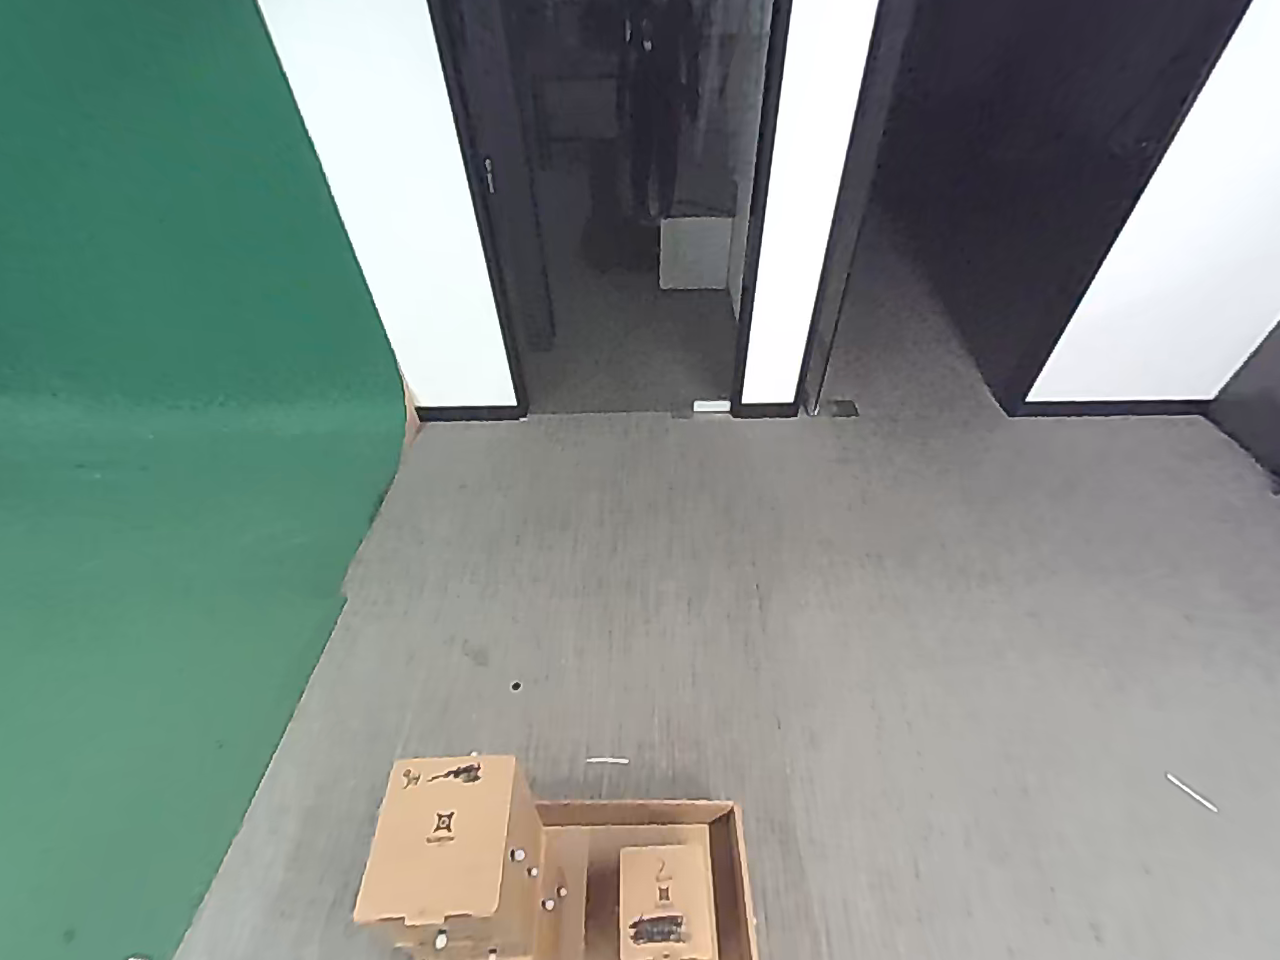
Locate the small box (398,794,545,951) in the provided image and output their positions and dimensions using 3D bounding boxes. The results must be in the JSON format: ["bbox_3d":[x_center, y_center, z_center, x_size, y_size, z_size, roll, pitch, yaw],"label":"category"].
[{"bbox_3d":[-0.244,0.609,0.837,0.168,0.176,0.179,-1,43,-2],"label":"small box"}]

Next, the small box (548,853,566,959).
[{"bbox_3d":[-0.240,0.852,1.056,0.168,0.176,0.179,0,44,1],"label":"small box"}]

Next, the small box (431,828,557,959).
[{"bbox_3d":[-0.241,0.732,0.945,0.168,0.176,0.179,0,44,0],"label":"small box"}]

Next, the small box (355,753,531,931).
[{"bbox_3d":[-0.244,0.488,0.727,0.168,0.176,0.179,-1,44,-2],"label":"small box"}]
